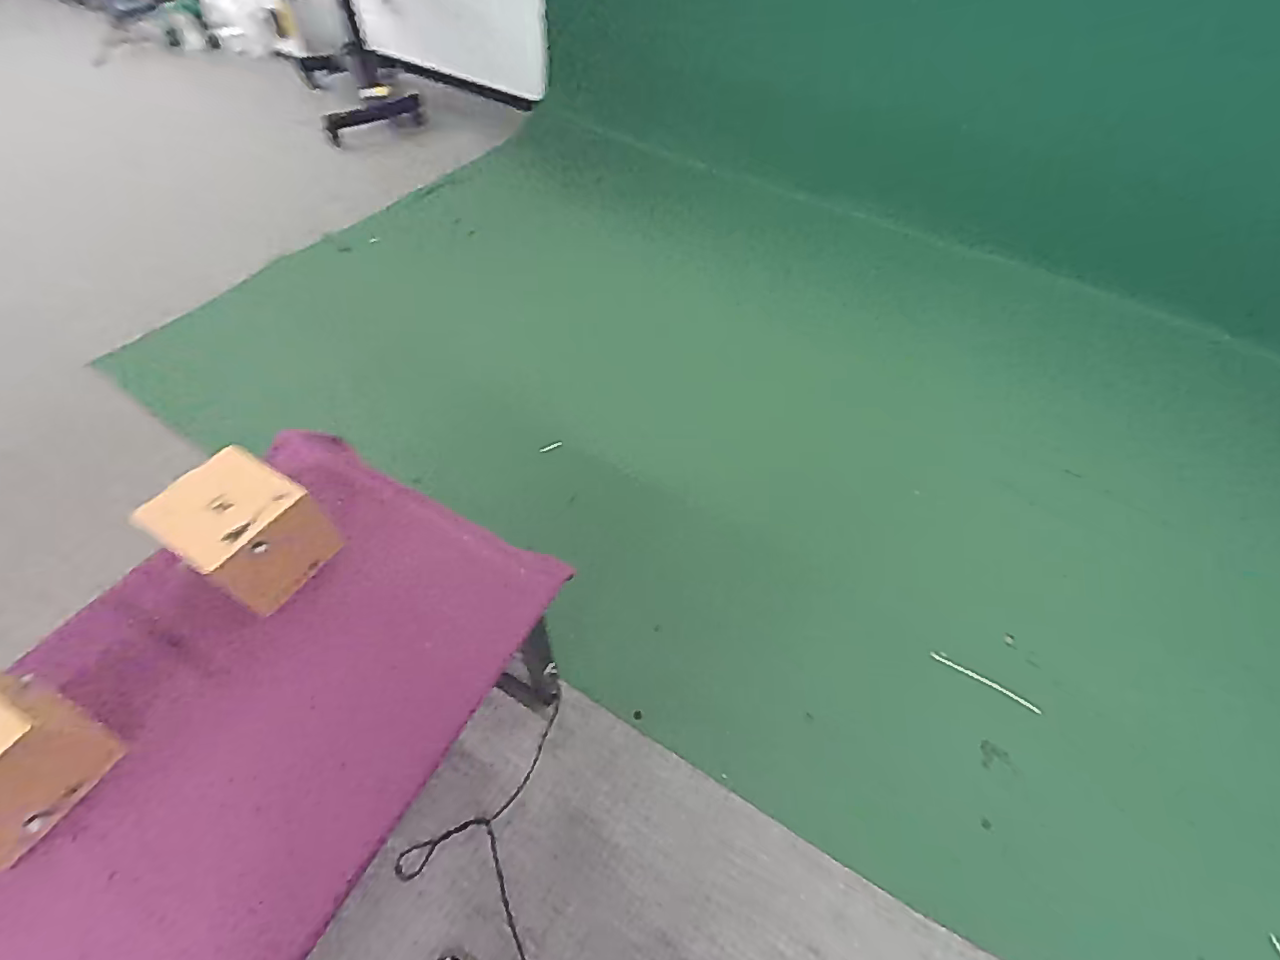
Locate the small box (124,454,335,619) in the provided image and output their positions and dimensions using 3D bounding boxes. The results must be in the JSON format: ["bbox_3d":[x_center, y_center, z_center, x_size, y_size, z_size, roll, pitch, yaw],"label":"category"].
[{"bbox_3d":[-0.639,0.095,0.865,0.179,0.176,0.168,26,57,15],"label":"small box"}]

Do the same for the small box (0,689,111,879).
[{"bbox_3d":[-0.825,0.363,0.653,0.179,0.176,0.168,25,56,13],"label":"small box"}]
